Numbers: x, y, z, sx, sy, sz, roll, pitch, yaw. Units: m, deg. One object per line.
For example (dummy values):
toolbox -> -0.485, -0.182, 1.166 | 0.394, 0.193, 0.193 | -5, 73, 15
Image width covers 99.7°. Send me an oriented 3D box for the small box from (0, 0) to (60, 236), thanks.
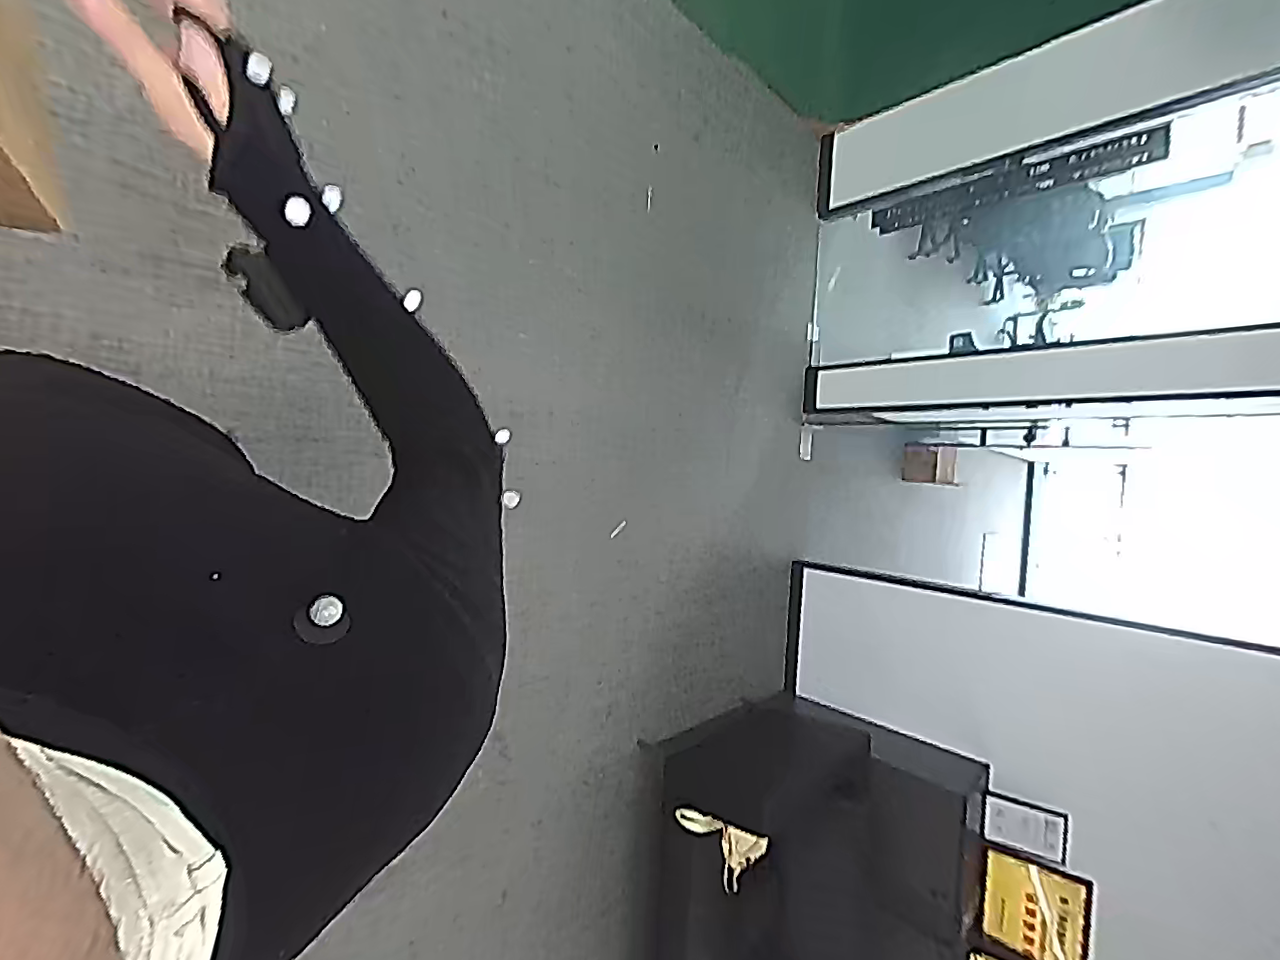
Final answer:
small box -> -0.510, -0.282, 0.336 | 0.168, 0.176, 0.179 | -9, 92, -35
